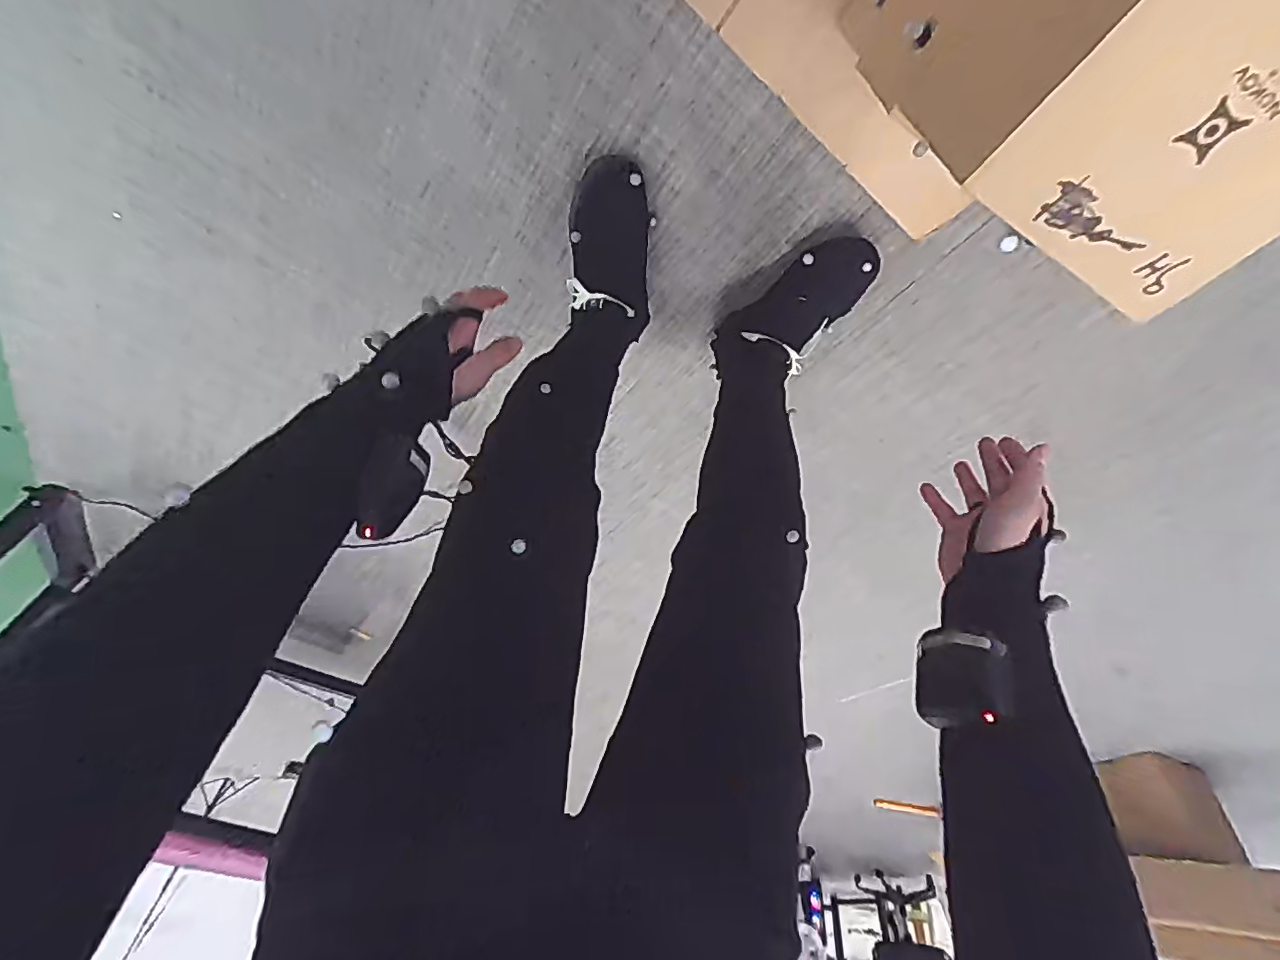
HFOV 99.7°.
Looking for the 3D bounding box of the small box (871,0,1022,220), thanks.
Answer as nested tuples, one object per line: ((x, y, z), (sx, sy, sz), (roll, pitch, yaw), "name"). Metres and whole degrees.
((0.308, -0.356, 0.427), (0.168, 0.176, 0.179), (25, 136, -18), "small box")

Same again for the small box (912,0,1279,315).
((0.294, -0.240, 0.311), (0.168, 0.176, 0.179), (24, 135, -16), "small box")
